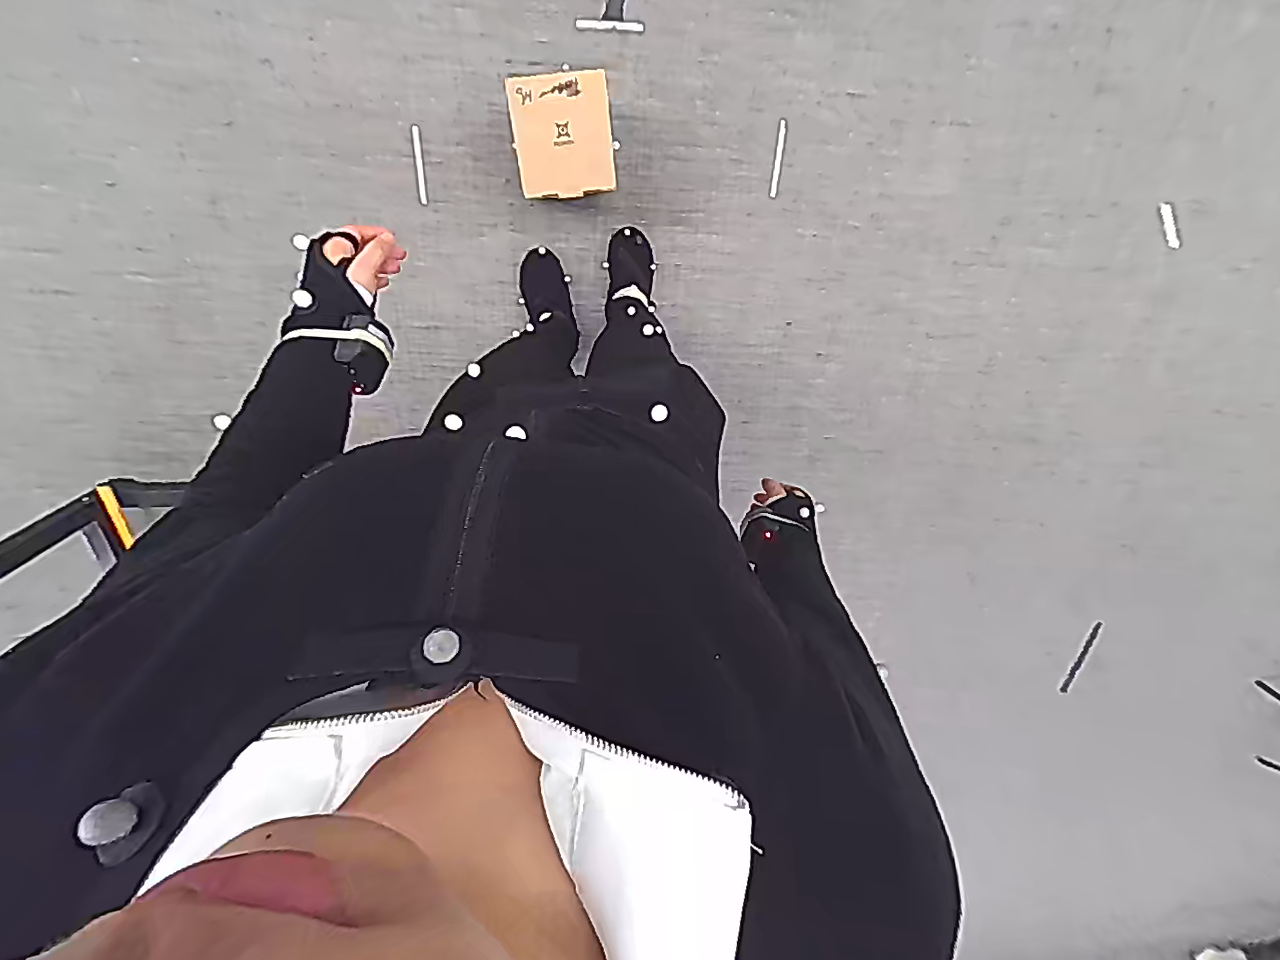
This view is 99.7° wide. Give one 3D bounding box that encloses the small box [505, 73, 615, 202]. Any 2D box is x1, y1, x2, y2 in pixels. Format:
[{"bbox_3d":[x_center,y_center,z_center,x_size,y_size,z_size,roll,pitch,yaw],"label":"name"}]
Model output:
[{"bbox_3d":[-0.134,-0.611,0.979,0.168,0.176,0.179,-5,118,0],"label":"small box"}]
